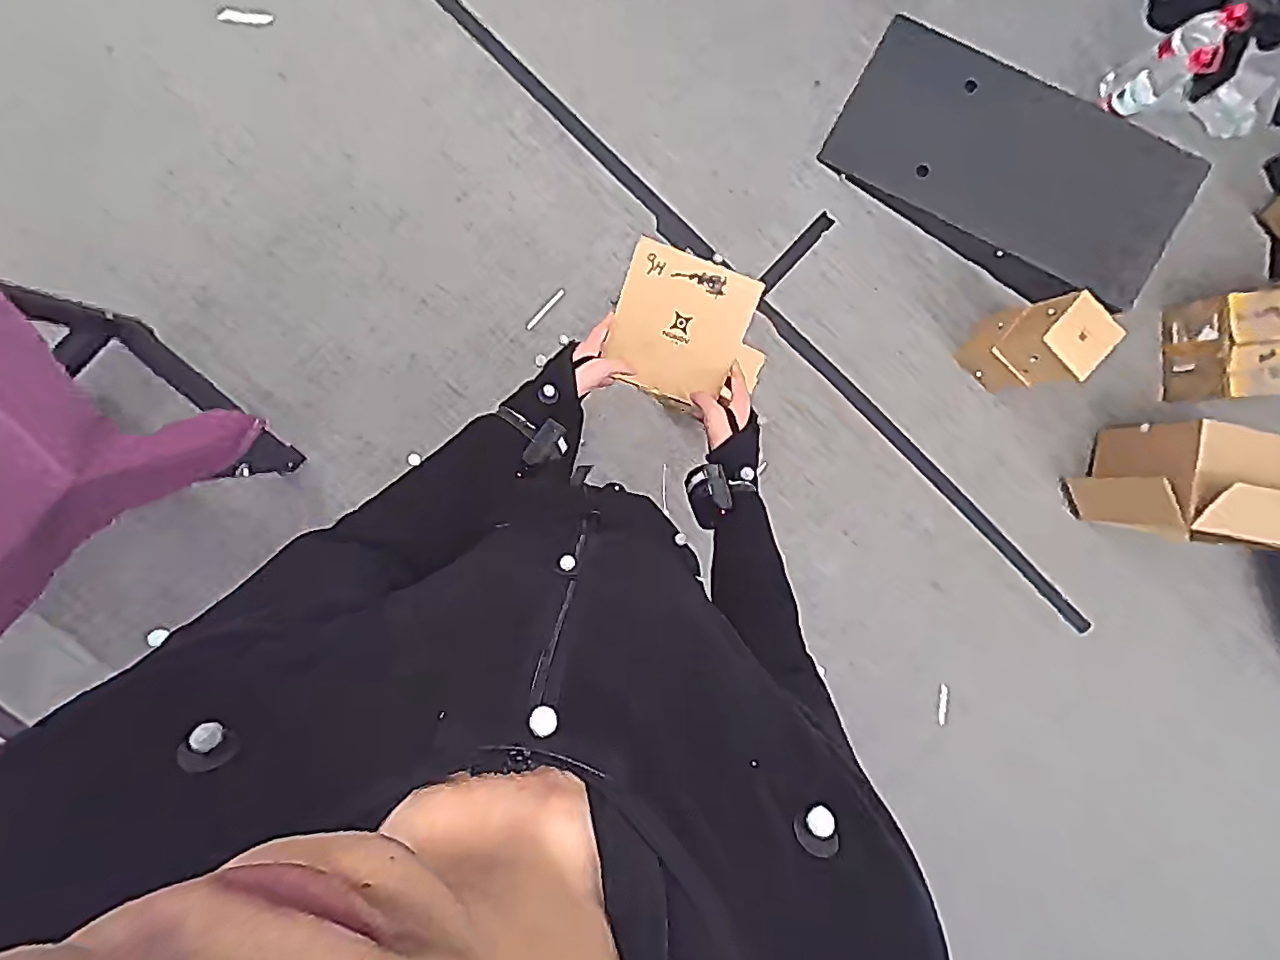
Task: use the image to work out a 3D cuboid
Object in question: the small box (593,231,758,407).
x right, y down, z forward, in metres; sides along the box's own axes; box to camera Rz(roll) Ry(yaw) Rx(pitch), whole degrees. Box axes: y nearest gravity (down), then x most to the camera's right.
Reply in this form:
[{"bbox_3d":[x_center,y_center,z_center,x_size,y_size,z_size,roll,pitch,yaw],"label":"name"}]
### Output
[{"bbox_3d":[0.044,-0.227,0.758,0.168,0.176,0.179,18,111,-7],"label":"small box"}]
